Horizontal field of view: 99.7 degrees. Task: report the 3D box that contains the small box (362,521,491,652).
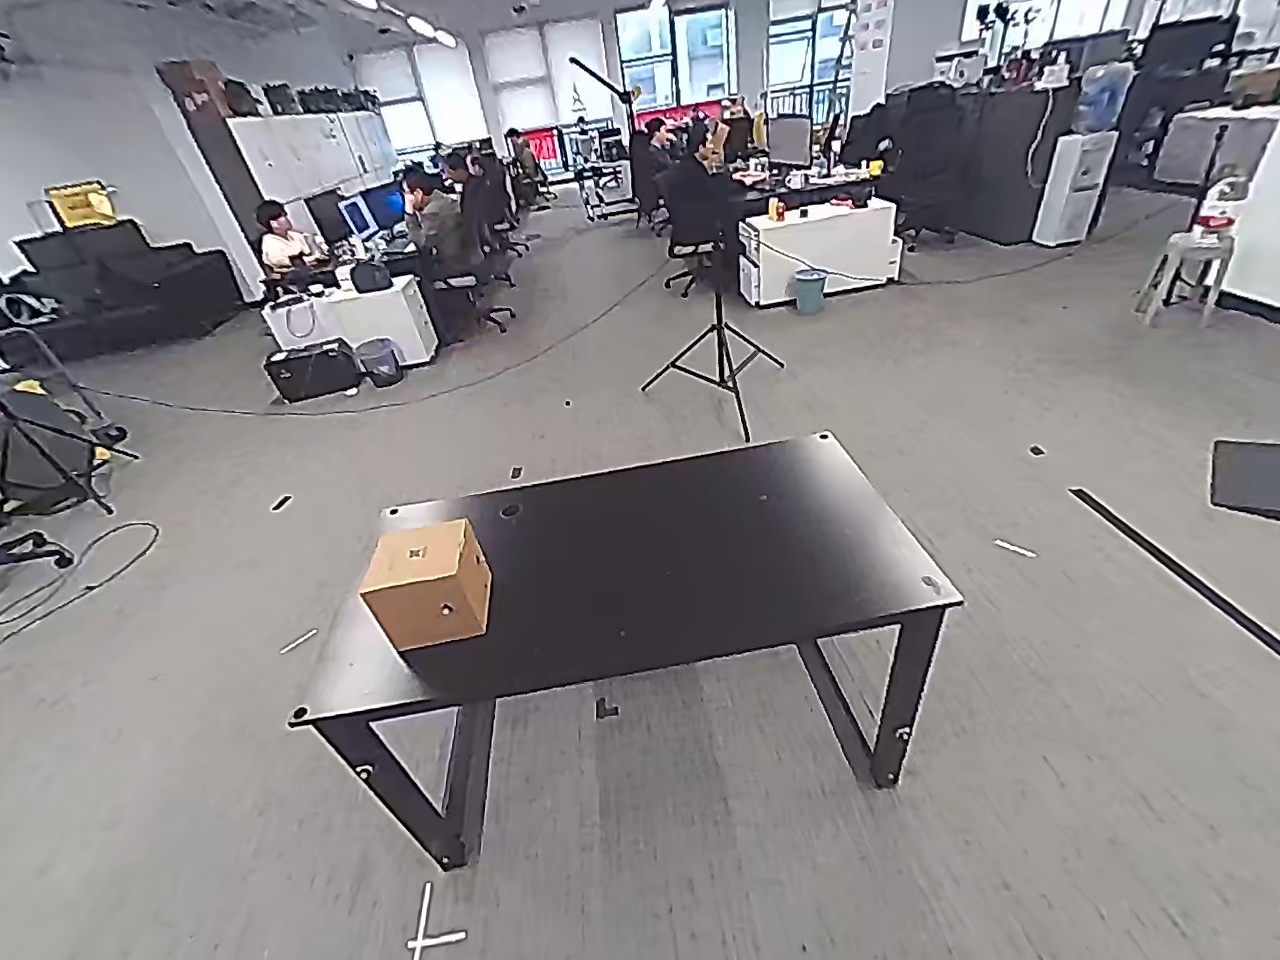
[{"bbox_3d":[-0.404,0.209,1.064,0.179,0.176,0.168,-12,34,-2],"label":"small box"}]
